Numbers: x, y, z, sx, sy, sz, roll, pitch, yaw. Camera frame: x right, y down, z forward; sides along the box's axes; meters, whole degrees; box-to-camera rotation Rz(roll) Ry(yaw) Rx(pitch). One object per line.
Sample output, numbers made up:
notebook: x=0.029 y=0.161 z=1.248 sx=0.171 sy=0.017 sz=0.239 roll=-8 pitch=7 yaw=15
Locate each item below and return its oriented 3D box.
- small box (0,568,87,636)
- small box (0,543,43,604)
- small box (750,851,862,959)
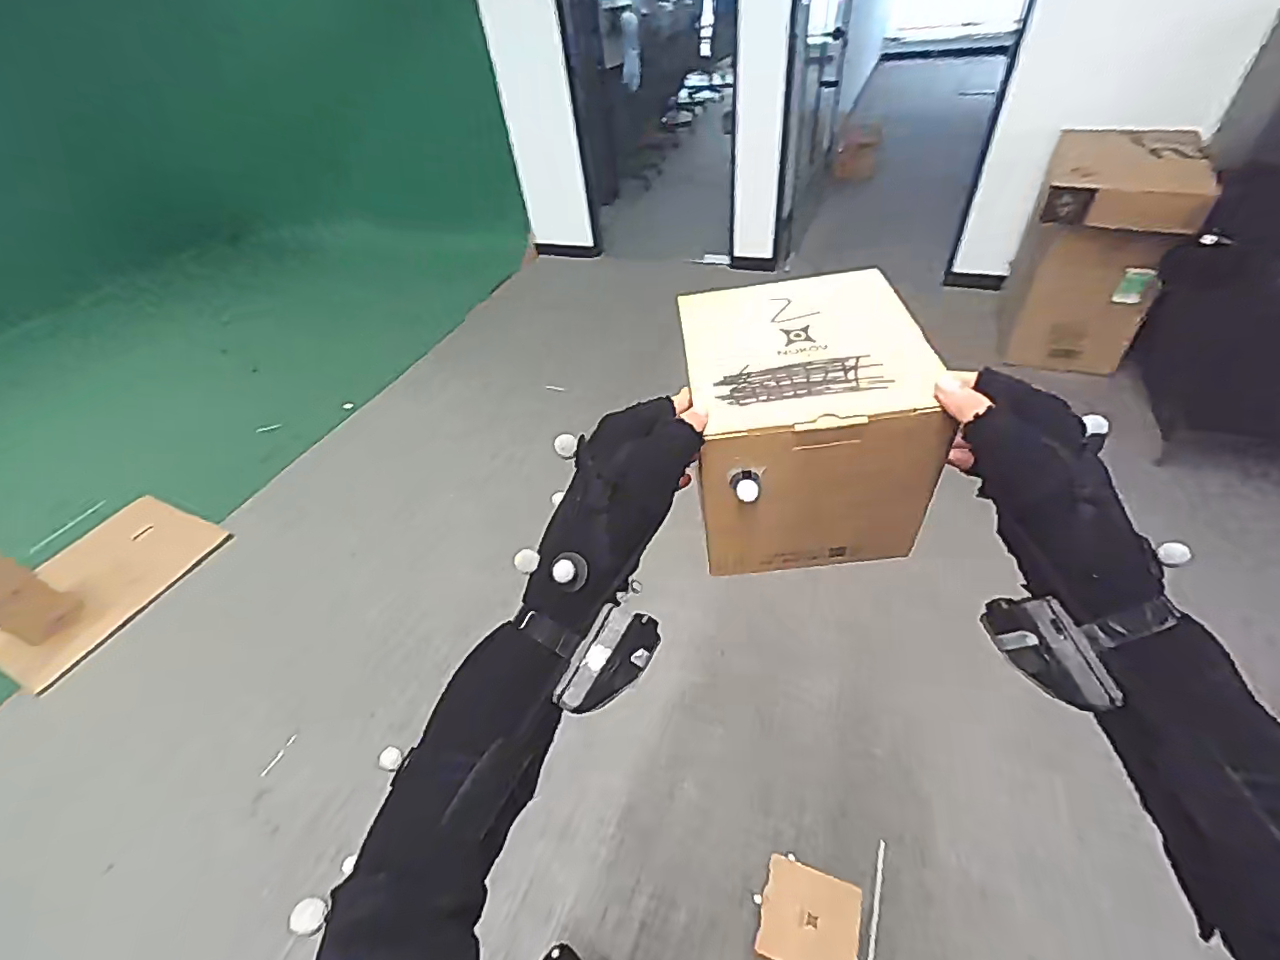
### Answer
small box: x=-2.074 y=0.405 z=1.844 sx=0.179 sy=0.176 sz=0.168 roll=14 pitch=50 yaw=21
small box: x=-2.093 y=0.292 z=1.727 sx=0.179 sy=0.176 sz=0.168 roll=15 pitch=50 yaw=23
small box: x=0.325 y=0.876 z=1.070 sx=0.179 sy=0.176 sz=0.168 roll=11 pitch=47 yaw=20
